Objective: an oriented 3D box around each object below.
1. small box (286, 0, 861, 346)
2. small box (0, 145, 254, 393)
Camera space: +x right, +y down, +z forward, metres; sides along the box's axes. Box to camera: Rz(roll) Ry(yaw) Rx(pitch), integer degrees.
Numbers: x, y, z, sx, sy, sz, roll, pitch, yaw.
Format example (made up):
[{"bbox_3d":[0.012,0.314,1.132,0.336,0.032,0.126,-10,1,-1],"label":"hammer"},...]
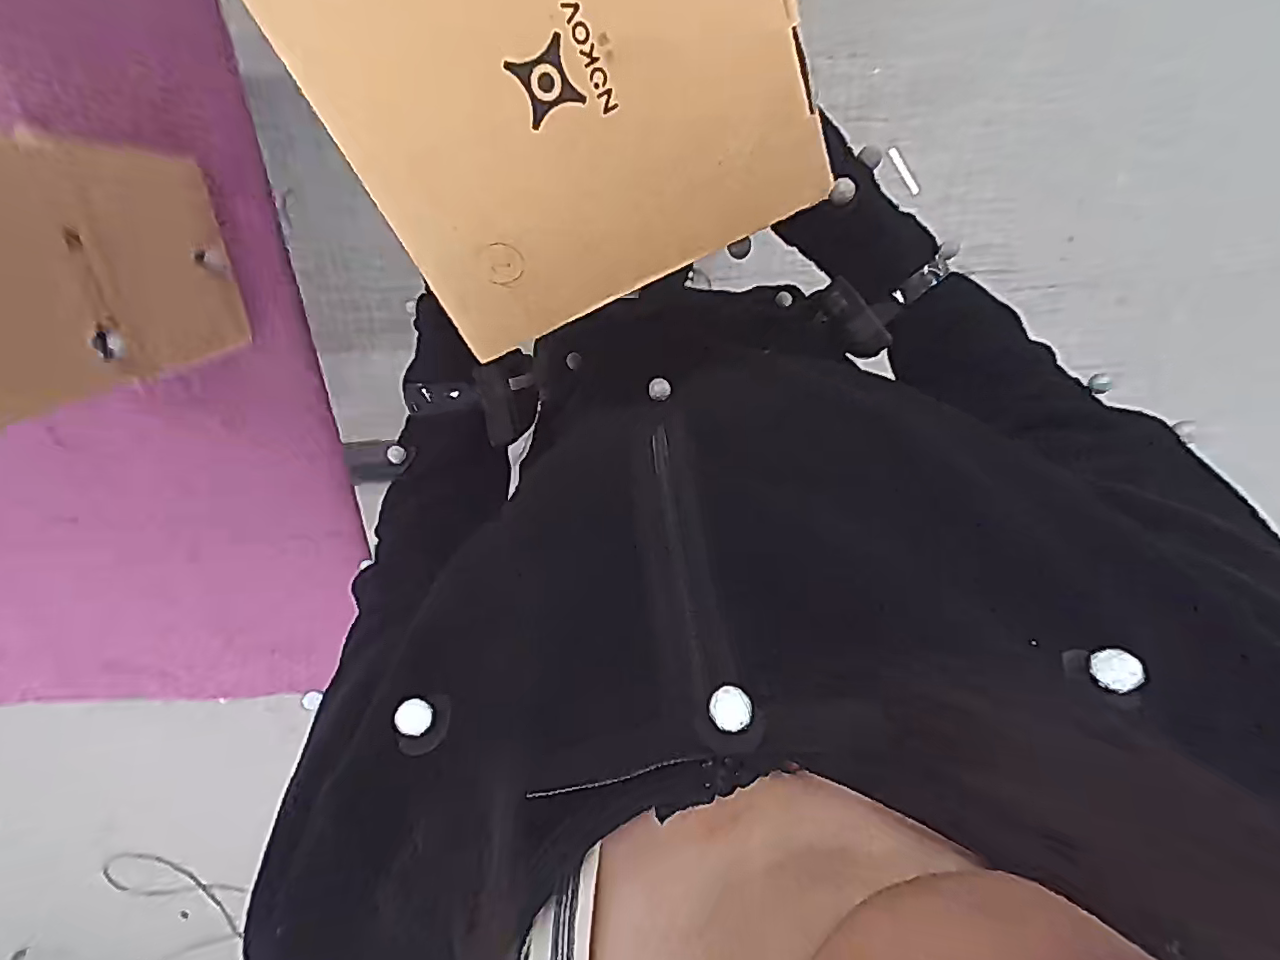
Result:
[{"bbox_3d":[-0.024,-0.194,0.263,0.179,0.176,0.168,-23,121,9],"label":"small box"},{"bbox_3d":[-0.488,-0.181,0.473,0.168,0.176,0.179,-2,116,-4],"label":"small box"}]
